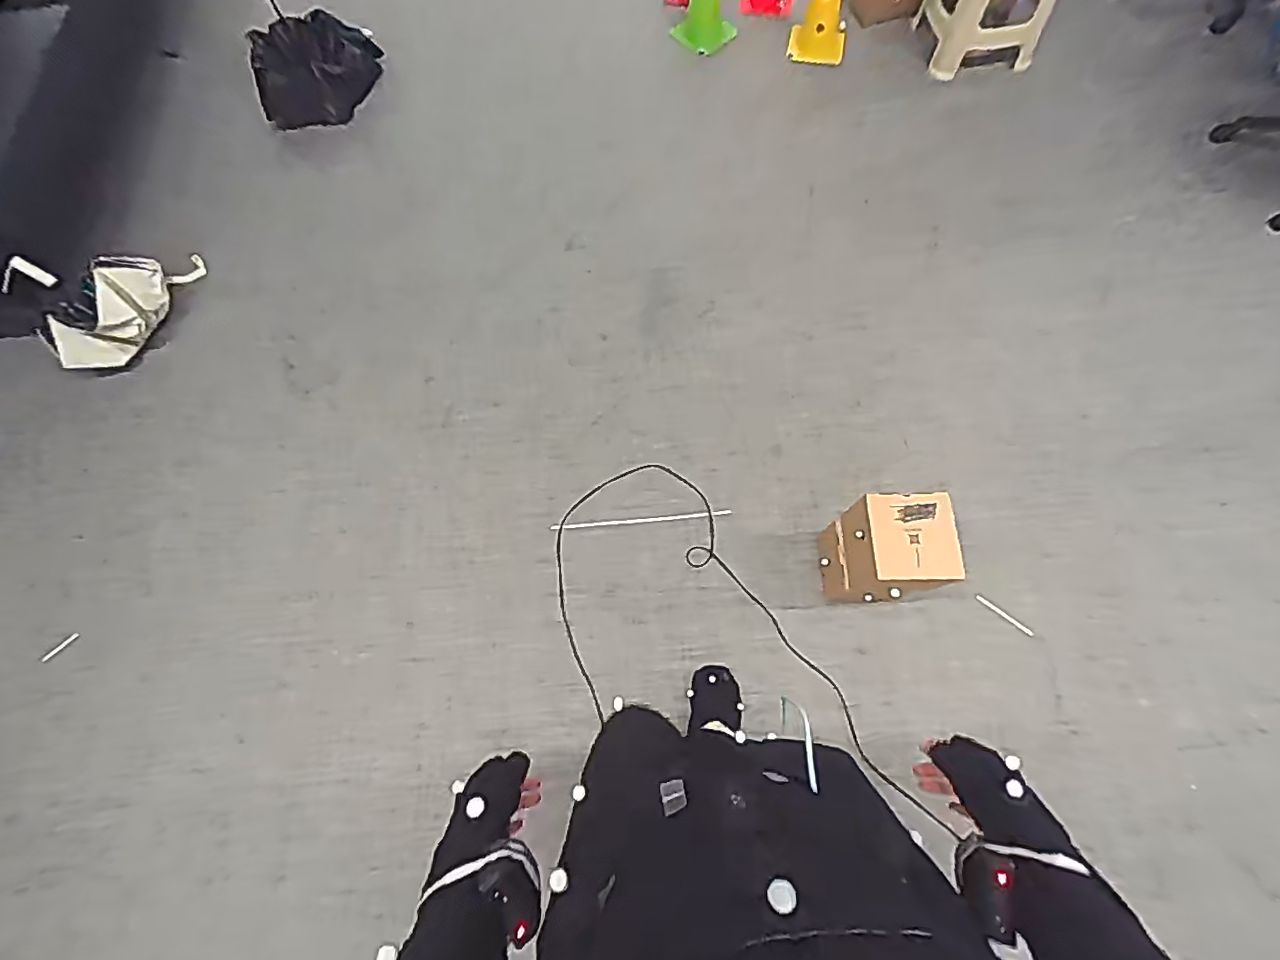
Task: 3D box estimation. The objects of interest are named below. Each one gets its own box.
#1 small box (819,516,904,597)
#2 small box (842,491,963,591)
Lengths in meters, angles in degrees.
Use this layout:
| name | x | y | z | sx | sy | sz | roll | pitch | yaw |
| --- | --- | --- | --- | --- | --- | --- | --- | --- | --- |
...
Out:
| name | x | y | z | sx | sy | sz | roll | pitch | yaw |
| --- | --- | --- | --- | --- | --- | --- | --- | --- | --- |
| small box | 0.535 | 0.185 | 1.284 | 0.179 | 0.176 | 0.168 | -1 | 71 | 2 |
| small box | 0.534 | 0.131 | 1.129 | 0.168 | 0.176 | 0.179 | -1 | 71 | 3 |
